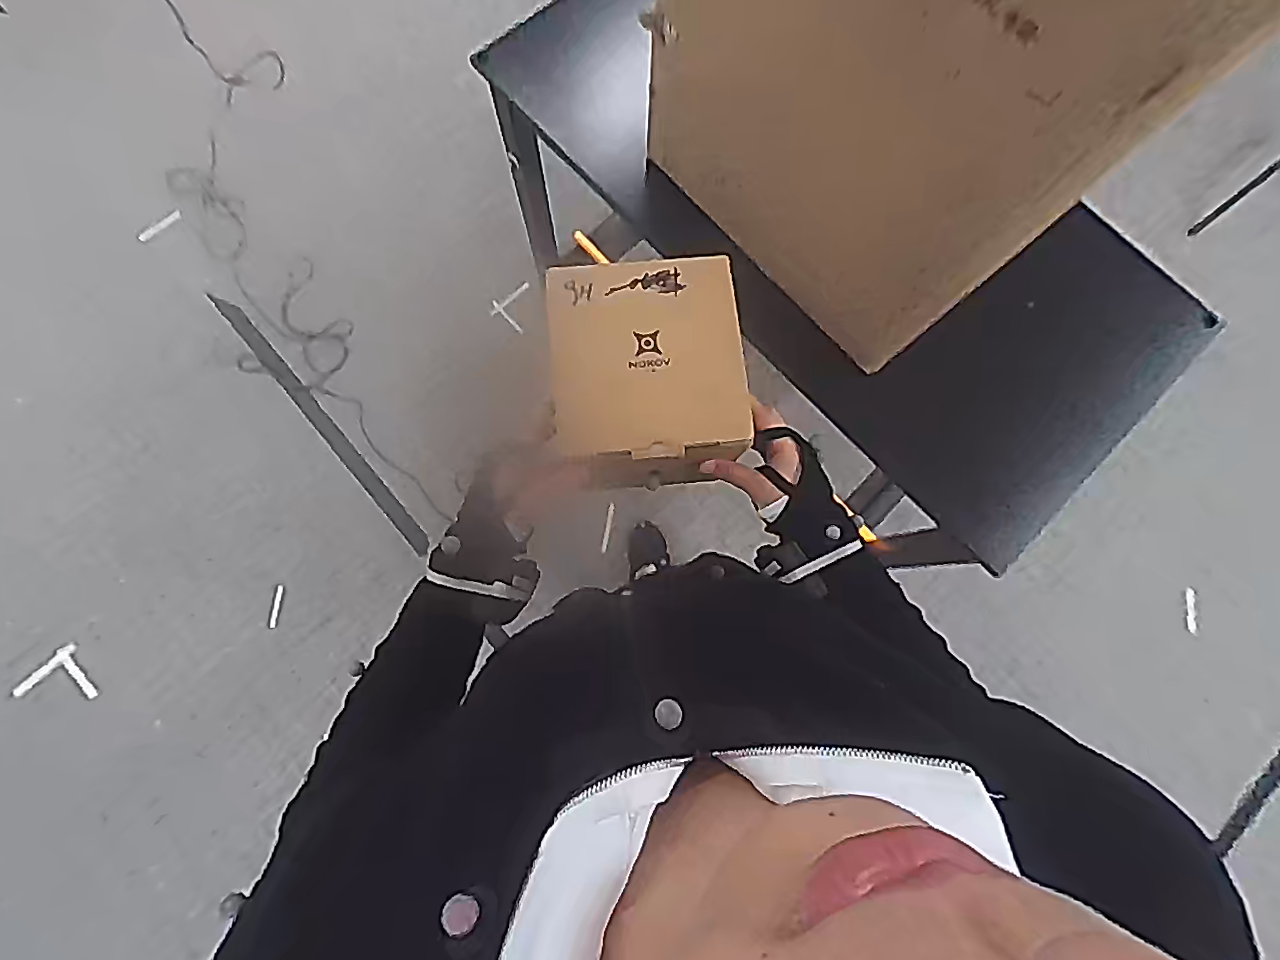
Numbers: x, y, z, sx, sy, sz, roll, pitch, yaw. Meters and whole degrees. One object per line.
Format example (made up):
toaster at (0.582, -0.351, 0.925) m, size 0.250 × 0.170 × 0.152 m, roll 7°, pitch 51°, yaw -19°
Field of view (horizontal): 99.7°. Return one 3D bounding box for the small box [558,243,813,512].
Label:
small box at (0.028, -0.069, 0.459) m, size 0.168 × 0.176 × 0.179 m, roll -6°, pitch 82°, yaw -3°
